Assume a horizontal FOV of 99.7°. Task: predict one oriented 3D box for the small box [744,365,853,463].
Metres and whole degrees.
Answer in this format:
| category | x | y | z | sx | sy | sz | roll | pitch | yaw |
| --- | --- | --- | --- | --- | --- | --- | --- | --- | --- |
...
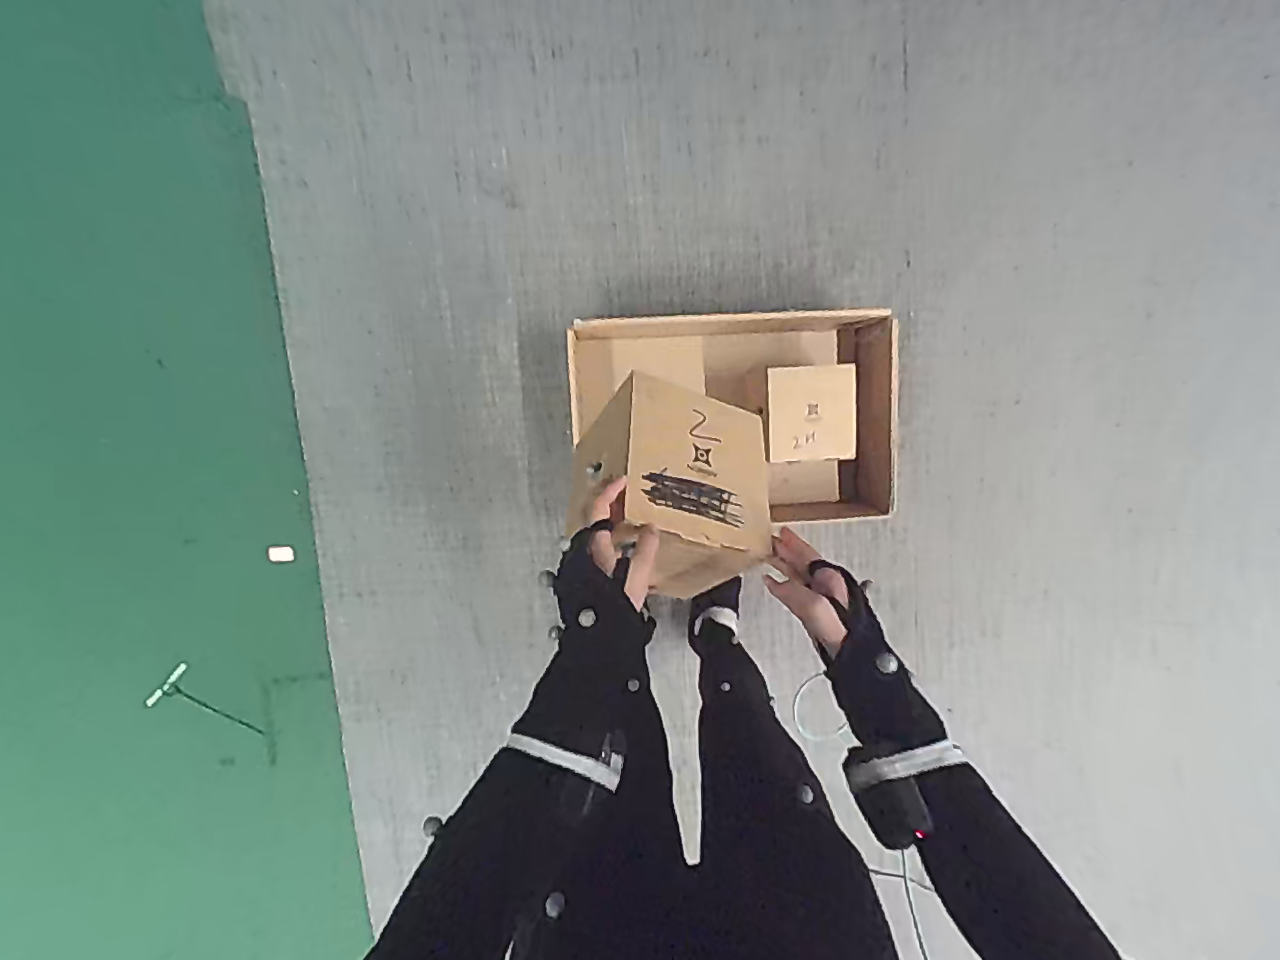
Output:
| category | x | y | z | sx | sy | sz | roll | pitch | yaw |
| --- | --- | --- | --- | --- | --- | --- | --- | --- | --- |
| small box | 0.306 | -0.129 | 1.074 | 0.168 | 0.176 | 0.179 | -3 | 97 | -3 |
